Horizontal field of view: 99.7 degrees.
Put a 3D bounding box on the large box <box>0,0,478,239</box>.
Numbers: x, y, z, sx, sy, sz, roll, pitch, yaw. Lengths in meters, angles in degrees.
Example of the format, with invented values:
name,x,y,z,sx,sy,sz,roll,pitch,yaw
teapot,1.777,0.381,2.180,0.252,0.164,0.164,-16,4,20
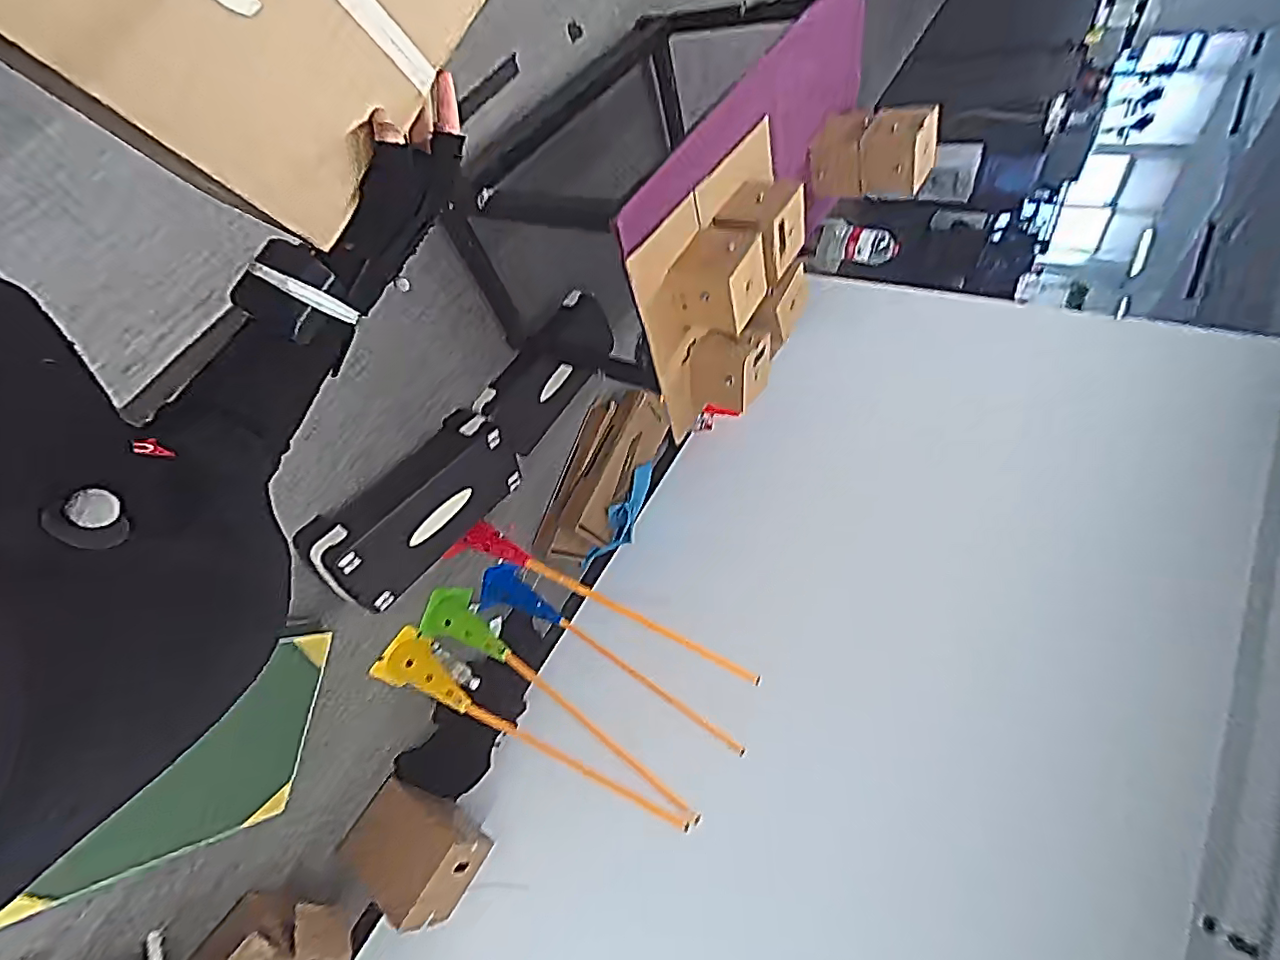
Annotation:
name,x,y,z,sx,sy,sz,roll,pitch,yaw
large box,-0.376,-0.442,0.356,0.320,0.320,0.408,-58,147,0
